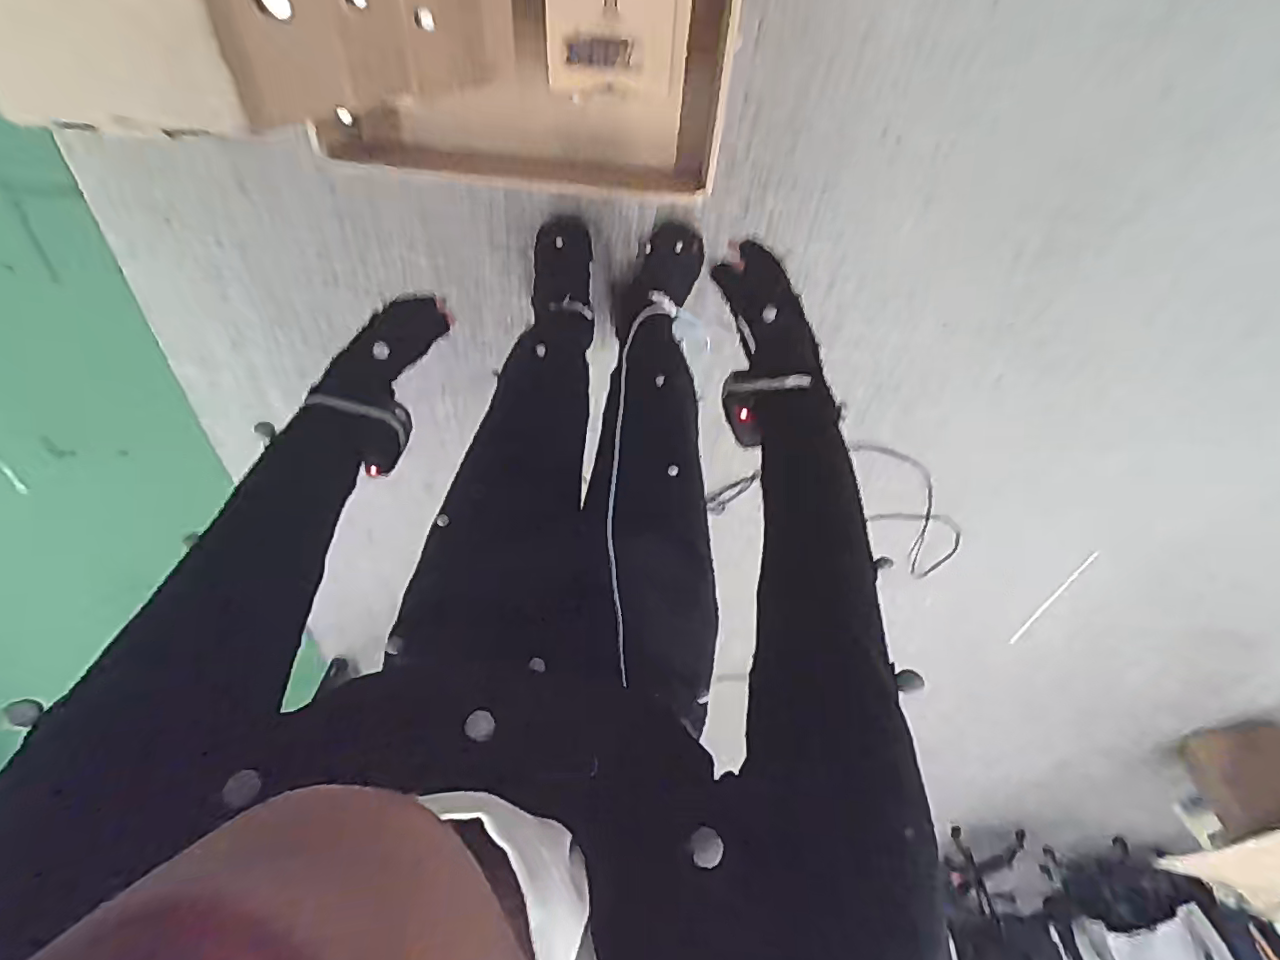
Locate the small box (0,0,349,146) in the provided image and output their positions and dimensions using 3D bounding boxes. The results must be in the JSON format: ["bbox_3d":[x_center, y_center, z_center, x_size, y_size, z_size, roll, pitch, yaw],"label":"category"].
[{"bbox_3d":[-0.331,-0.351,0.370,0.168,0.176,0.179,3,131,-2],"label":"small box"}]

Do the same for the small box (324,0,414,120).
[{"bbox_3d":[-0.329,-0.453,0.498,0.168,0.176,0.179,3,130,-2],"label":"small box"}]
